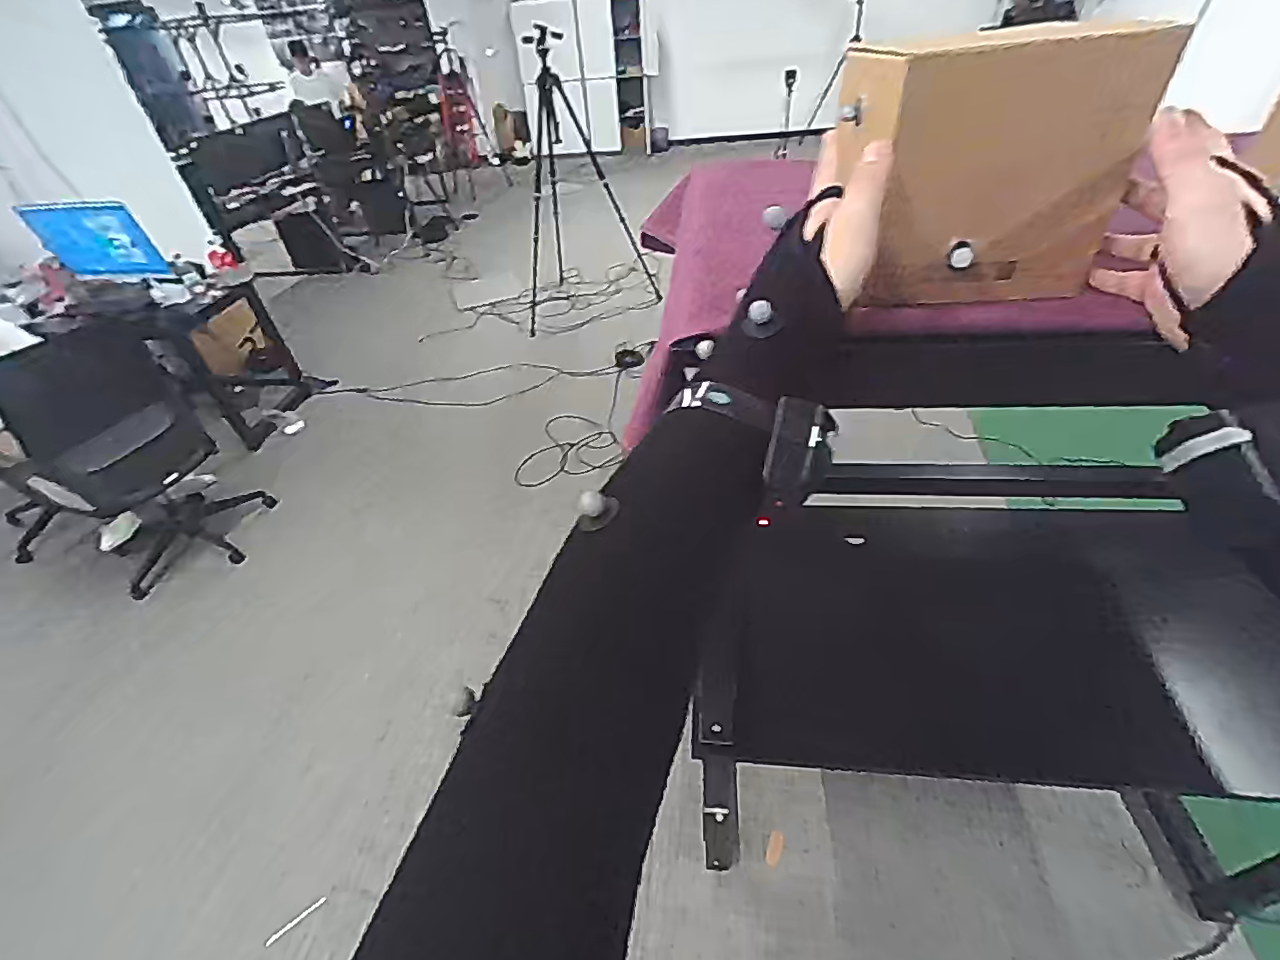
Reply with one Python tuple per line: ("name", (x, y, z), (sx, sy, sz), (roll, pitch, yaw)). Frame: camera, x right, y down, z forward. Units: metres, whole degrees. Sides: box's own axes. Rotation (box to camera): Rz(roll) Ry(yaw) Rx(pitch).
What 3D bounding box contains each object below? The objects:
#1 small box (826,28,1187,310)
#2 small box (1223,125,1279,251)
("small box", (0.258, -0.253, 0.444), (0.168, 0.176, 0.179), (-1, 40, 7))
("small box", (0.625, -0.258, 0.401), (0.179, 0.176, 0.168), (1, 40, 10))
